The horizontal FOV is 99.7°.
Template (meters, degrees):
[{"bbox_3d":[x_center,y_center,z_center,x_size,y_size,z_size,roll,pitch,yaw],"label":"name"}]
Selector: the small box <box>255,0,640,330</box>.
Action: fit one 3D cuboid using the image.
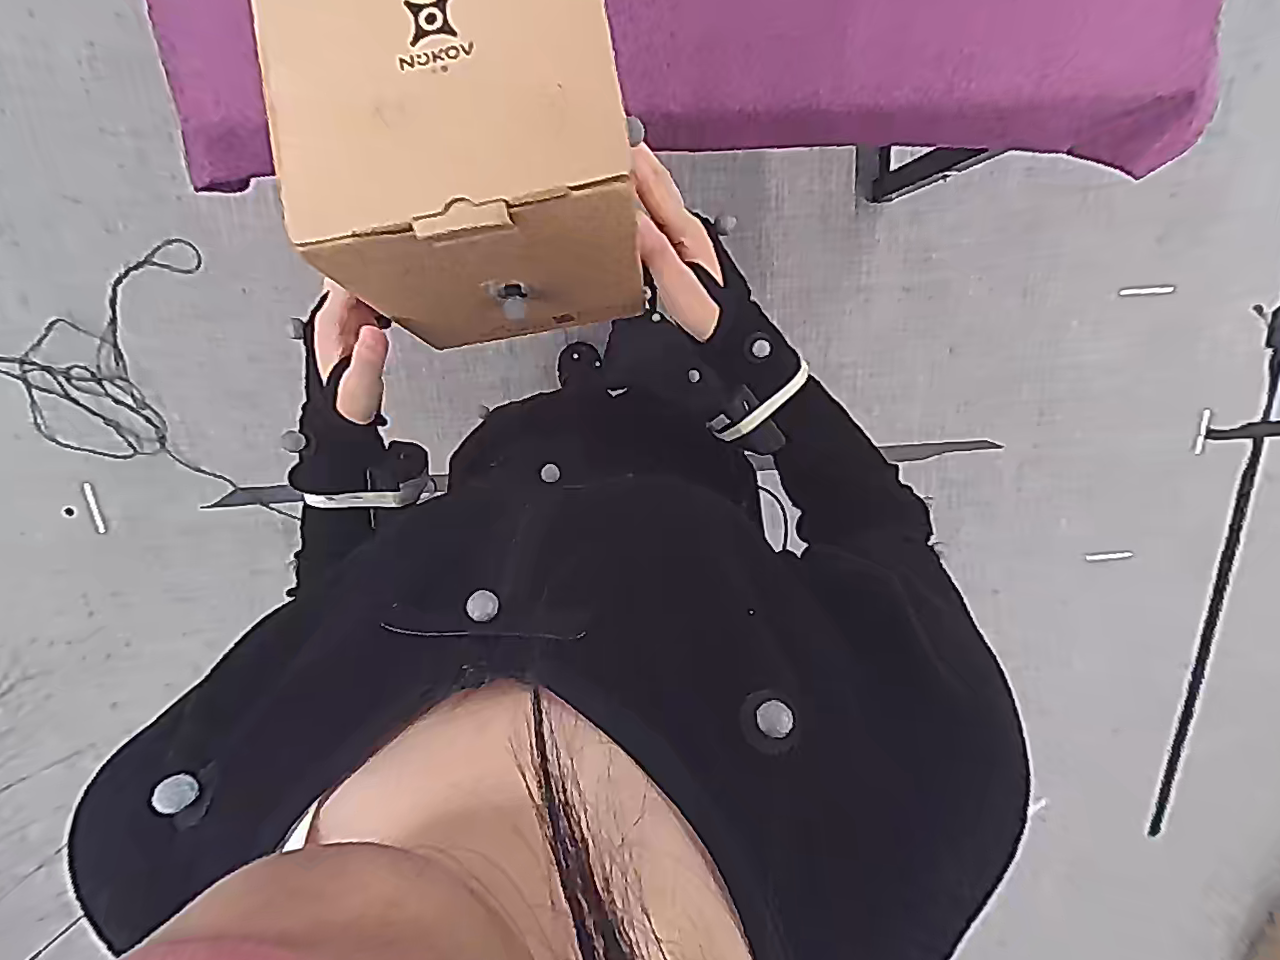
[{"bbox_3d":[-0.094,-0.205,0.334,0.168,0.176,0.179,-9,87,2],"label":"small box"}]
